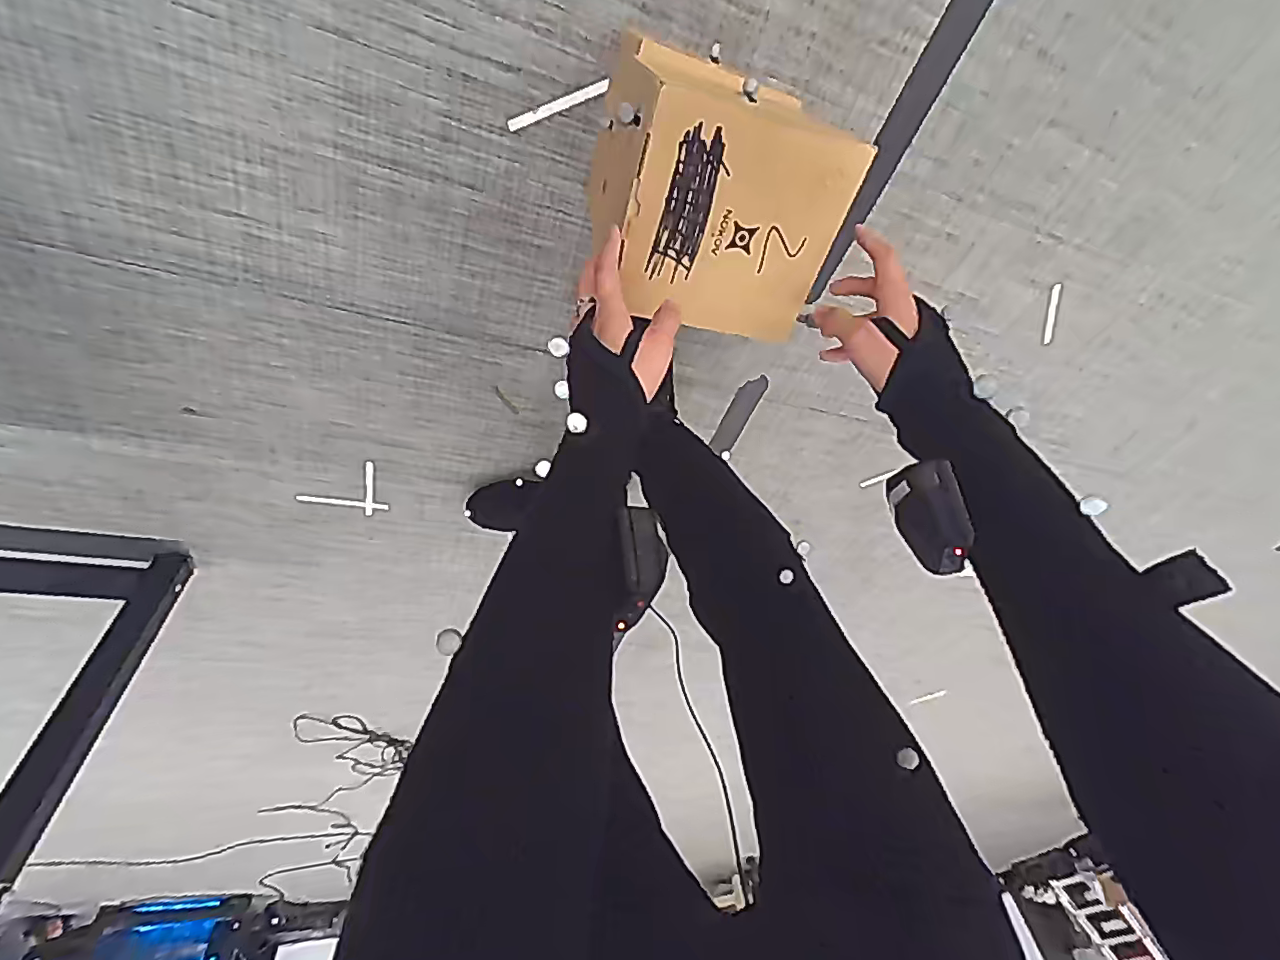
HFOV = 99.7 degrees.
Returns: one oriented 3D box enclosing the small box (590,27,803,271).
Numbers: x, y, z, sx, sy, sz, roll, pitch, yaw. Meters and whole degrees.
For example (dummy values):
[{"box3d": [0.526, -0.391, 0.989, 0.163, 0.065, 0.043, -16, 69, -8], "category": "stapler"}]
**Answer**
[{"box3d": [0.044, -0.368, 0.601, 0.168, 0.176, 0.179, 9, 131, -18], "category": "small box"}]
